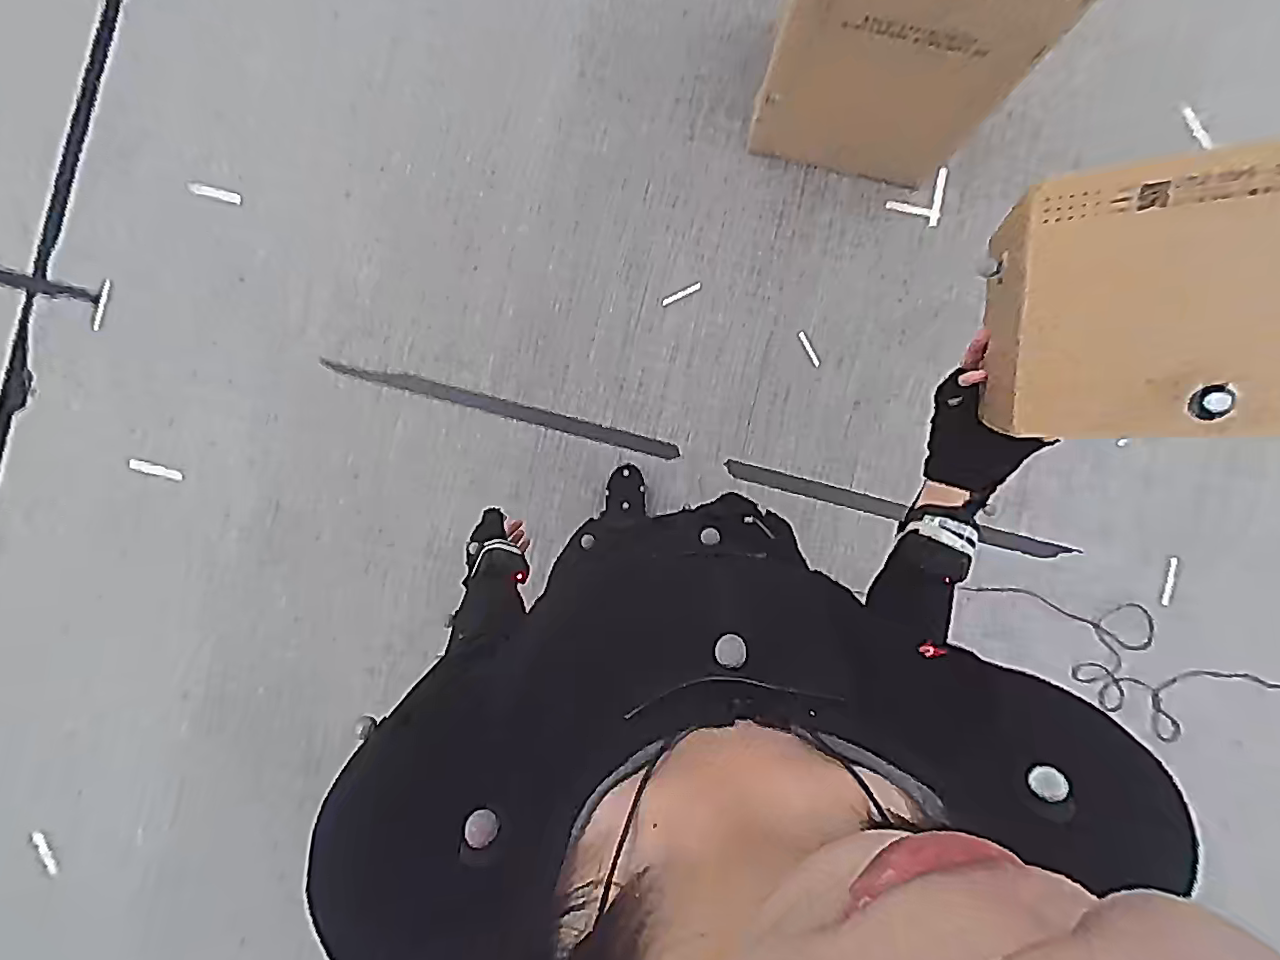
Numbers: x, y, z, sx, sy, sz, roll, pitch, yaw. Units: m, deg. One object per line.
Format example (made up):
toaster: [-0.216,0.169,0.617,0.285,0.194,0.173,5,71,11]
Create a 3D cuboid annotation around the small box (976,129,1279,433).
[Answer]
small box: [0.357,-0.128,0.392,0.168,0.179,0.176,3,101,25]
